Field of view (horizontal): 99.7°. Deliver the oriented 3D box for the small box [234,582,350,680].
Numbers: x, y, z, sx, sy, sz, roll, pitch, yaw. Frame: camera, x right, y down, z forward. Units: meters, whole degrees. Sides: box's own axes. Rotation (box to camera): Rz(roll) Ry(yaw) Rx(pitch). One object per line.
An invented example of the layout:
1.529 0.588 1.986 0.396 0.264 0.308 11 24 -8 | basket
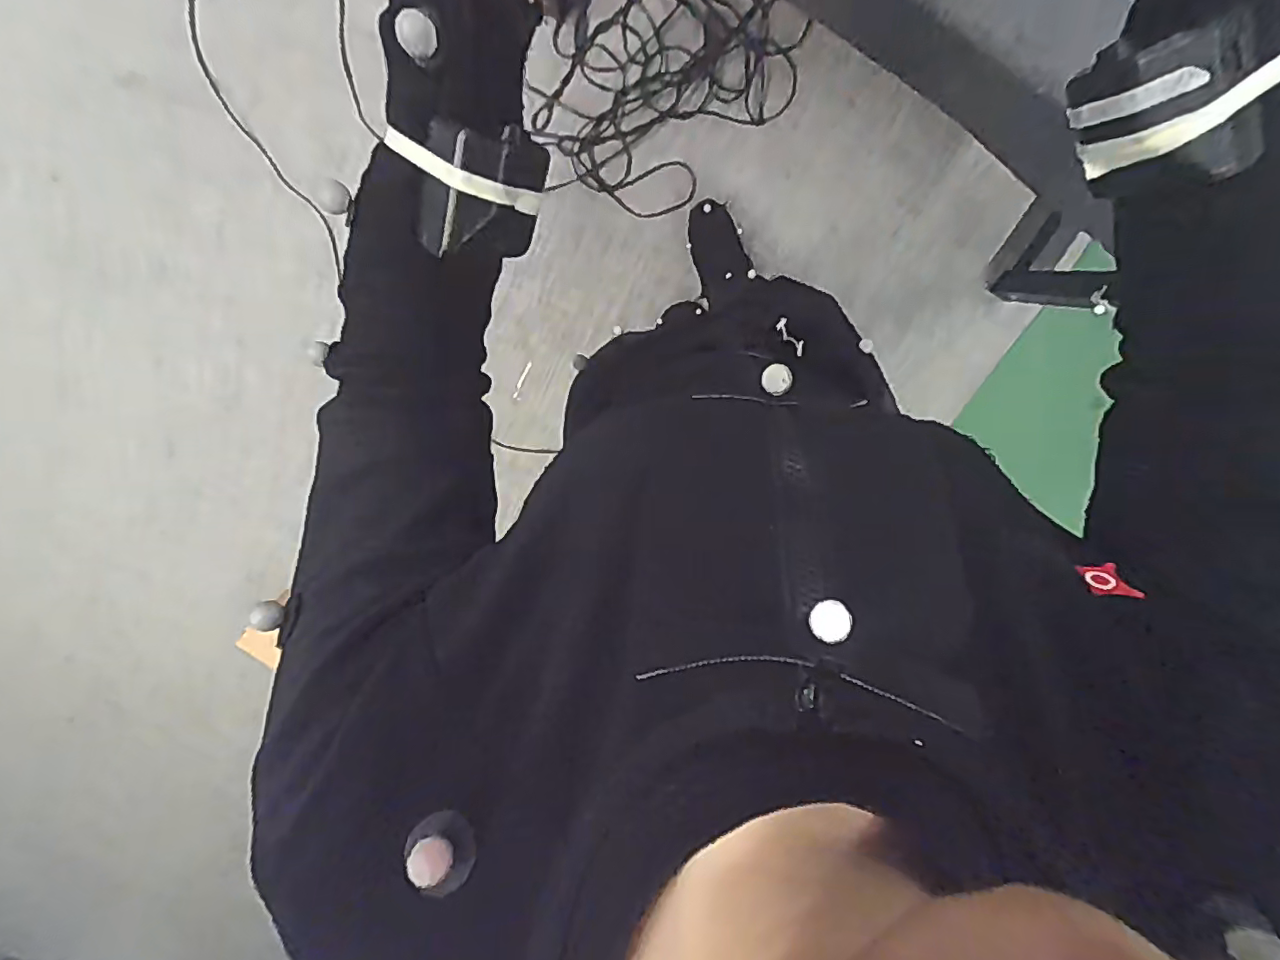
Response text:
-0.959 0.410 1.505 0.179 0.176 0.168 42 107 -15 | small box
